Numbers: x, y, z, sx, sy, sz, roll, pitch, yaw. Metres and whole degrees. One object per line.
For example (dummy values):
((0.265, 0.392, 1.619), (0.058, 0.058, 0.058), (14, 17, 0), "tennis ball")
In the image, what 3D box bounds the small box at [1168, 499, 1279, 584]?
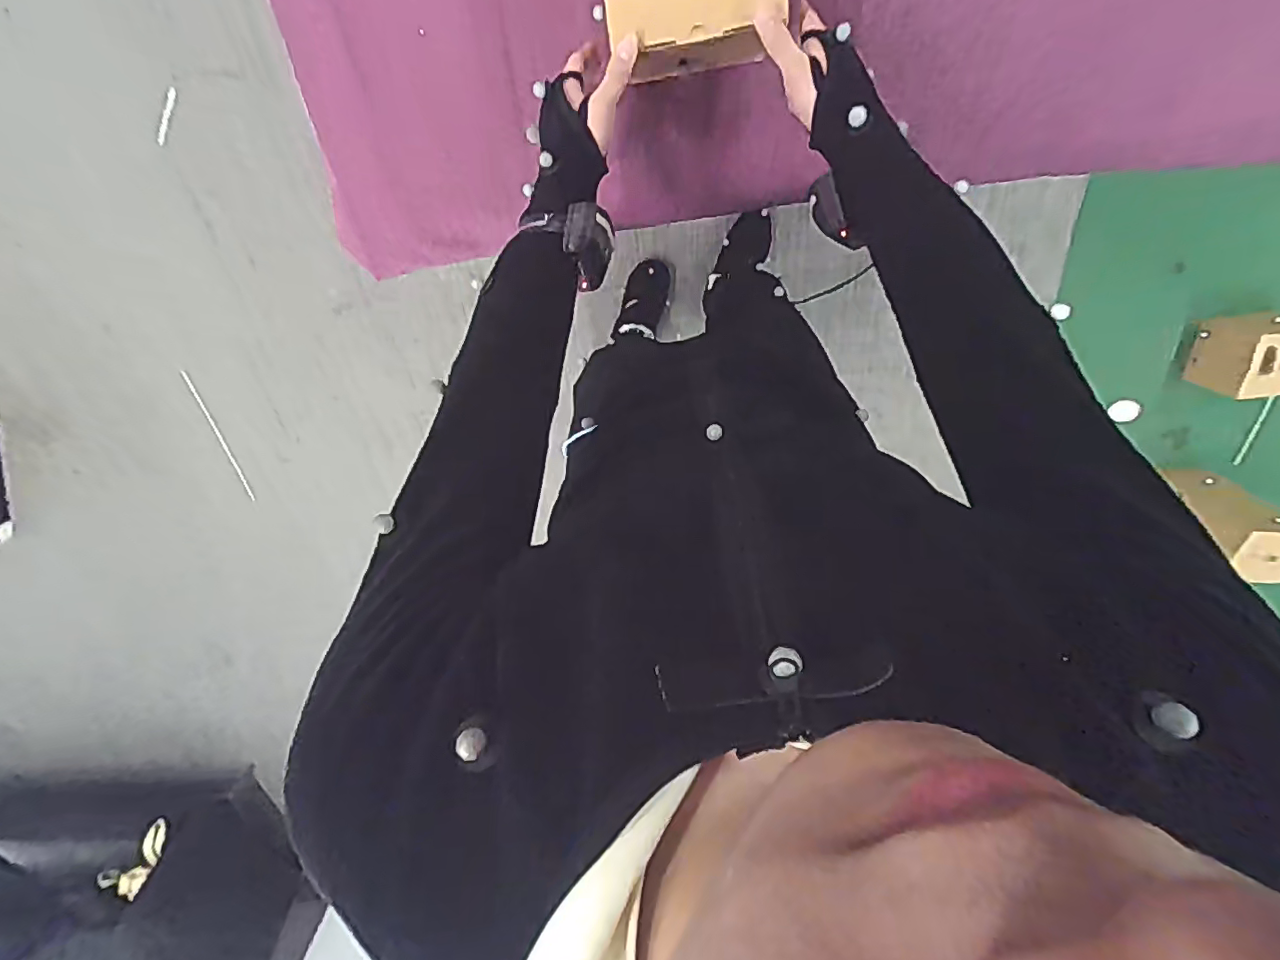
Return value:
((1.624, 0.164, 1.471), (0.179, 0.176, 0.168), (2, 120, 2), "small box")

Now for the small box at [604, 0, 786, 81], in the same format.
((0.044, -0.522, 0.531), (0.168, 0.176, 0.179), (-6, 120, 6), "small box")

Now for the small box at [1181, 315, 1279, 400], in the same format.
((1.568, -0.317, 1.390), (0.179, 0.176, 0.168), (-6, 119, 6), "small box")
